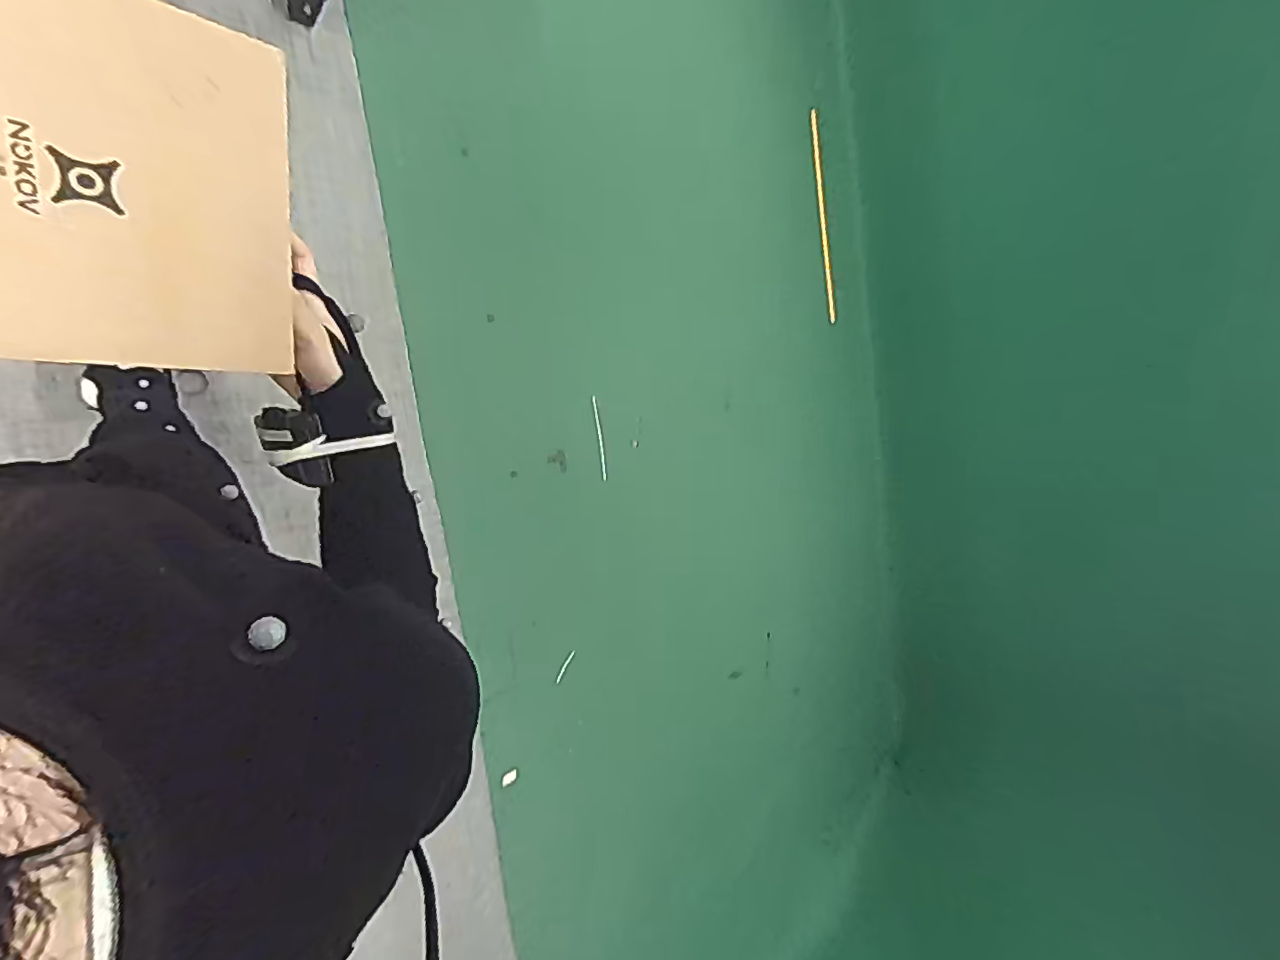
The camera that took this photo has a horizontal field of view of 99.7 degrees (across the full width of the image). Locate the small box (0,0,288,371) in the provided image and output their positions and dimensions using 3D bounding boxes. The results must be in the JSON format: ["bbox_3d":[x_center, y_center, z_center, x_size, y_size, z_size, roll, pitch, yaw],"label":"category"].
[{"bbox_3d":[-0.314,-0.158,0.297,0.179,0.176,0.168,-4,106,-43],"label":"small box"}]
